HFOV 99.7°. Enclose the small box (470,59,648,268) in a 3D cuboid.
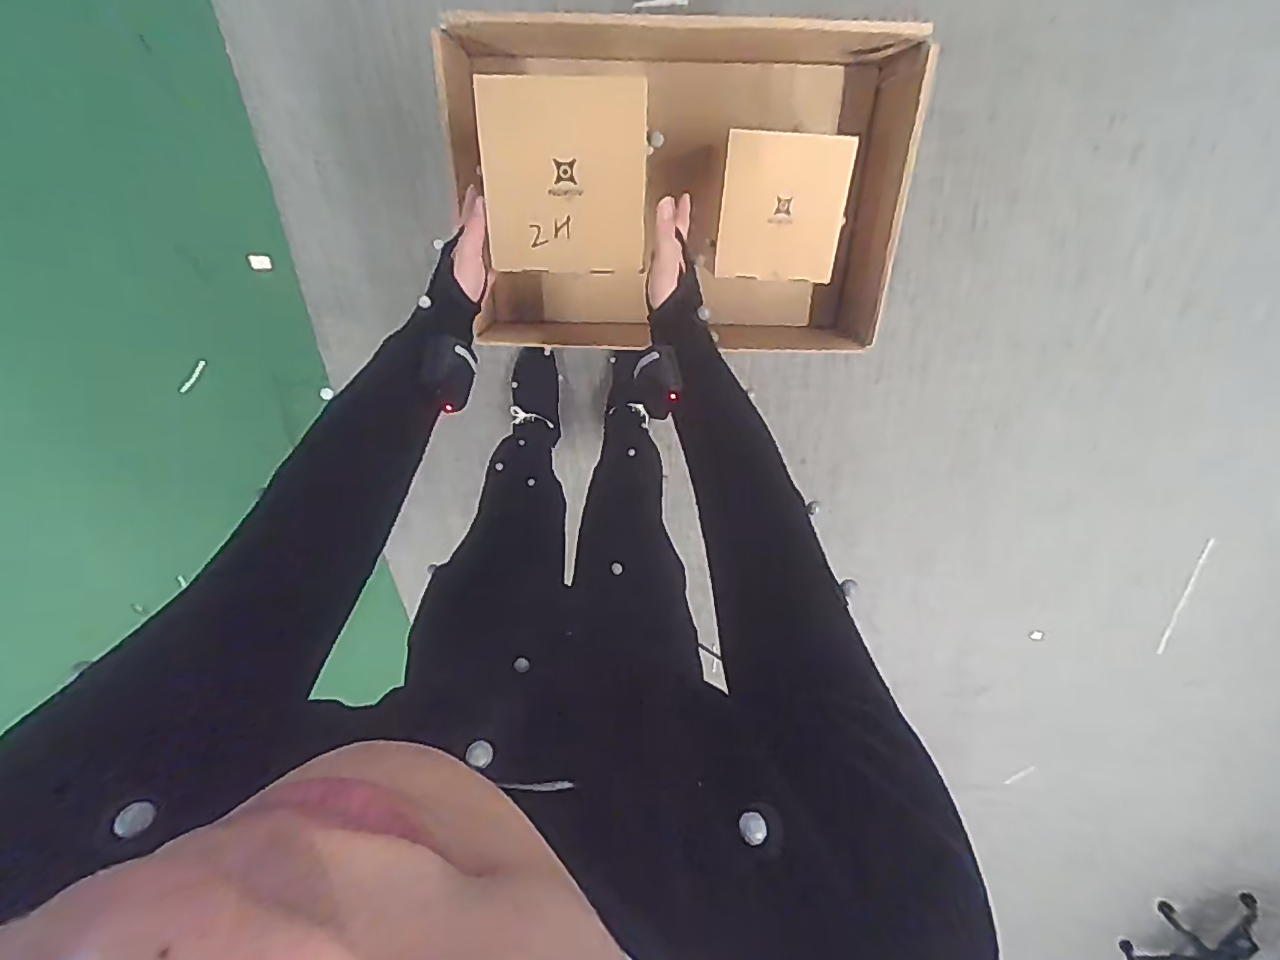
[{"bbox_3d":[-0.079,-0.338,0.602,0.168,0.176,0.179,1,117,-1],"label":"small box"}]
